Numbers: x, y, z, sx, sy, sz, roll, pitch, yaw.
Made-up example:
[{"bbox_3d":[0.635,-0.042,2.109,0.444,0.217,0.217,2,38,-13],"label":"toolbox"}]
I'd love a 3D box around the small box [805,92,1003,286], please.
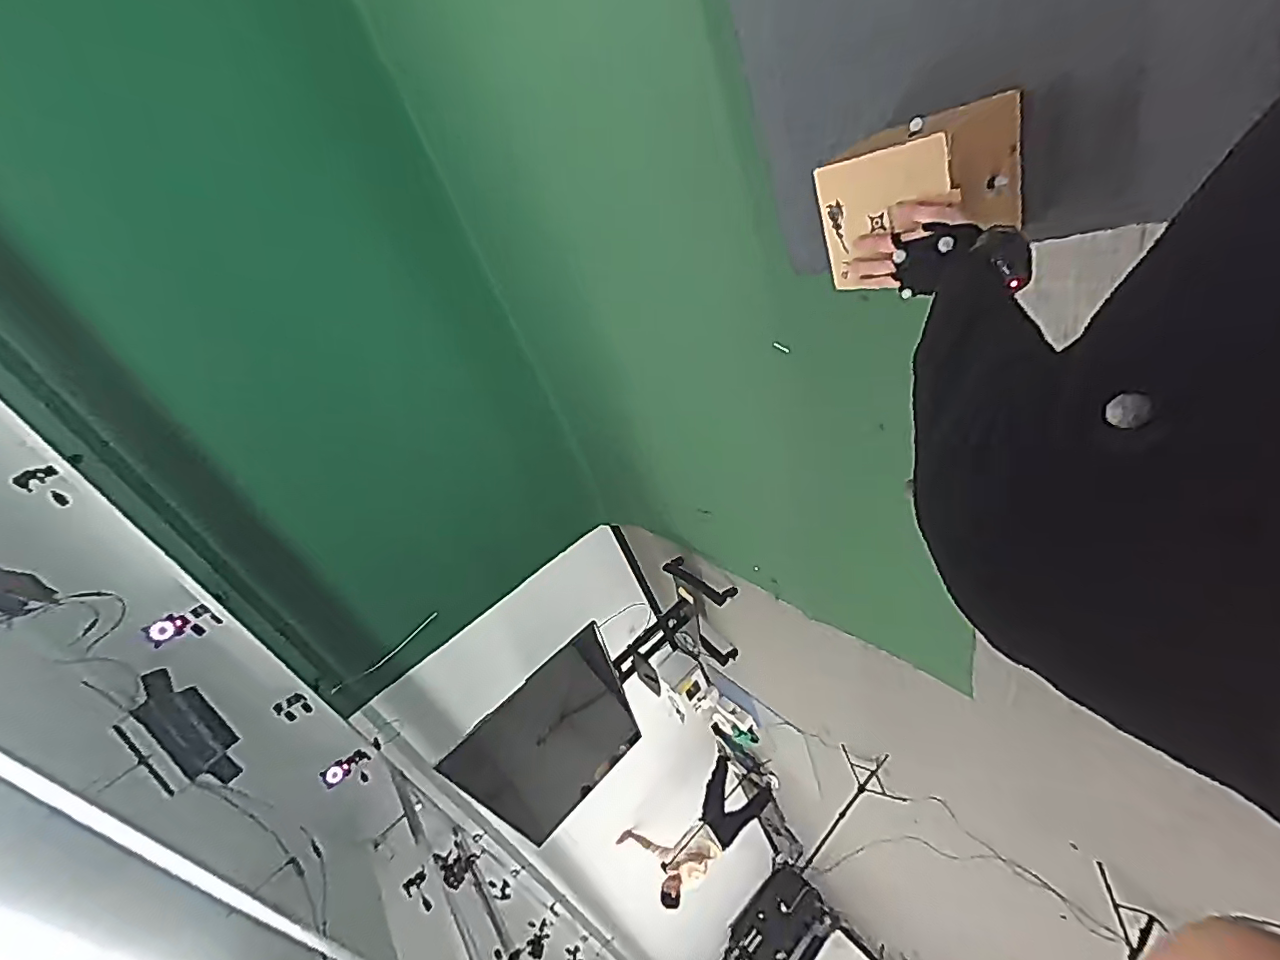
[{"bbox_3d":[0.353,-0.374,0.712,0.179,0.176,0.168,18,139,51],"label":"small box"}]
